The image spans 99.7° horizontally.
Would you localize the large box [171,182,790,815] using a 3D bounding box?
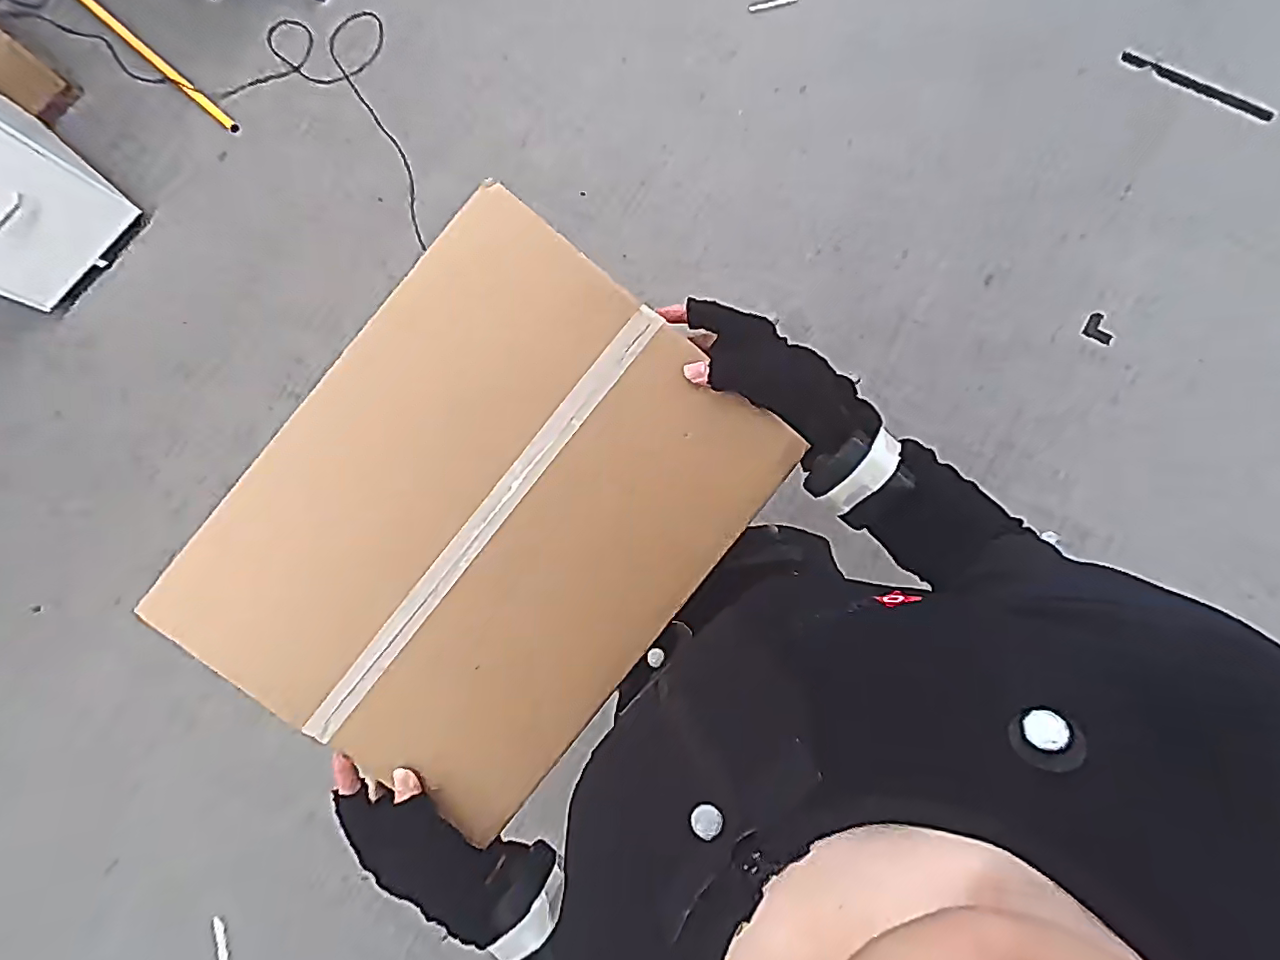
[{"bbox_3d":[-0.127,0.016,0.566,0.320,0.320,0.408,39,90,-6],"label":"large box"}]
